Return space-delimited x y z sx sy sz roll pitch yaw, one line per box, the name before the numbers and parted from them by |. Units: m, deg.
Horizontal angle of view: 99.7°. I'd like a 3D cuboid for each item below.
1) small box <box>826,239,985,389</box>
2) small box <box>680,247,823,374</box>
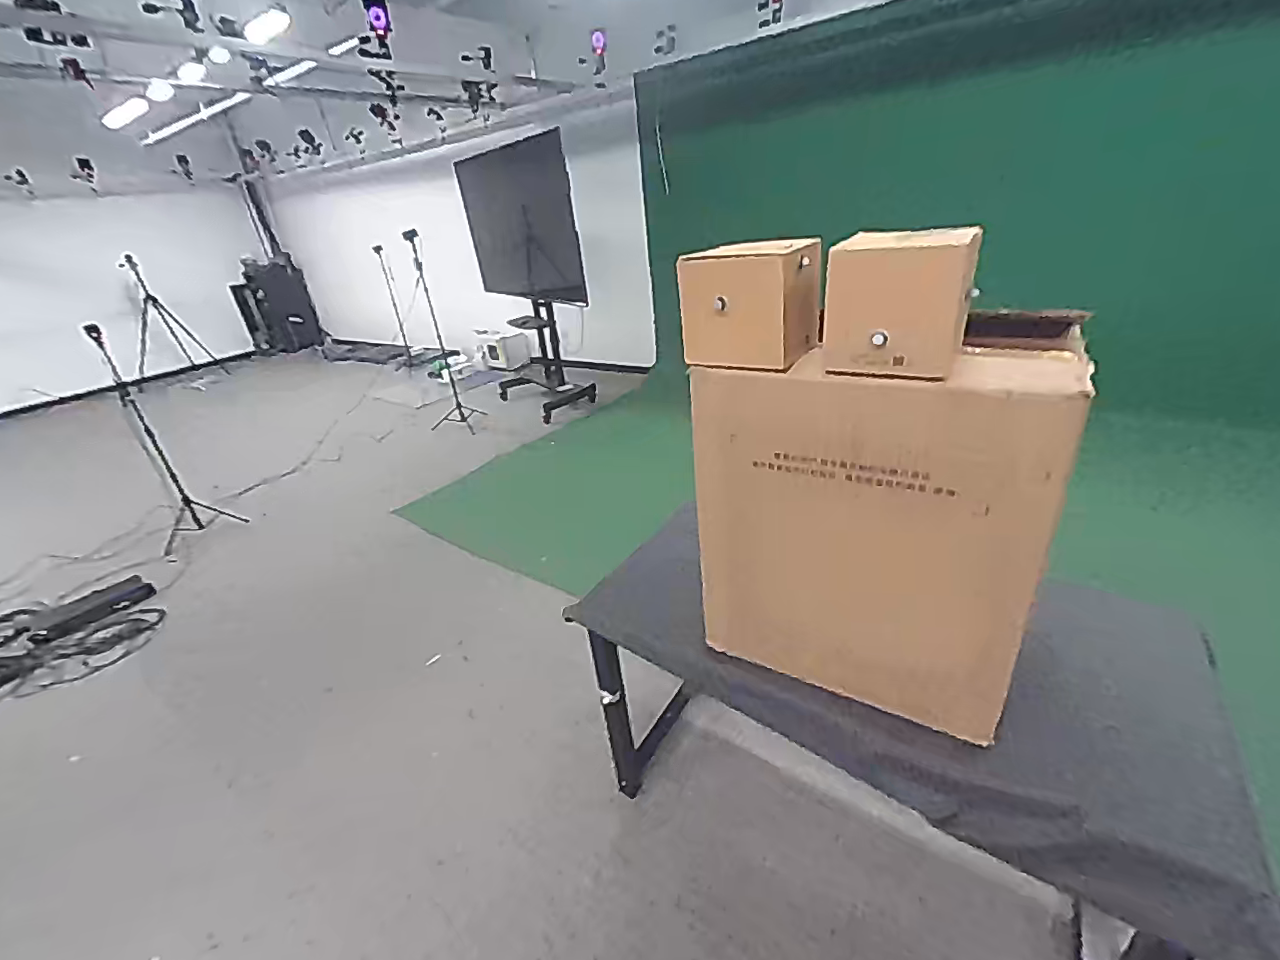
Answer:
small box | 0.374 -0.243 0.774 0.168 0.176 0.179 13 34 31
small box | 0.185 -0.277 0.882 0.179 0.176 0.168 12 33 32
